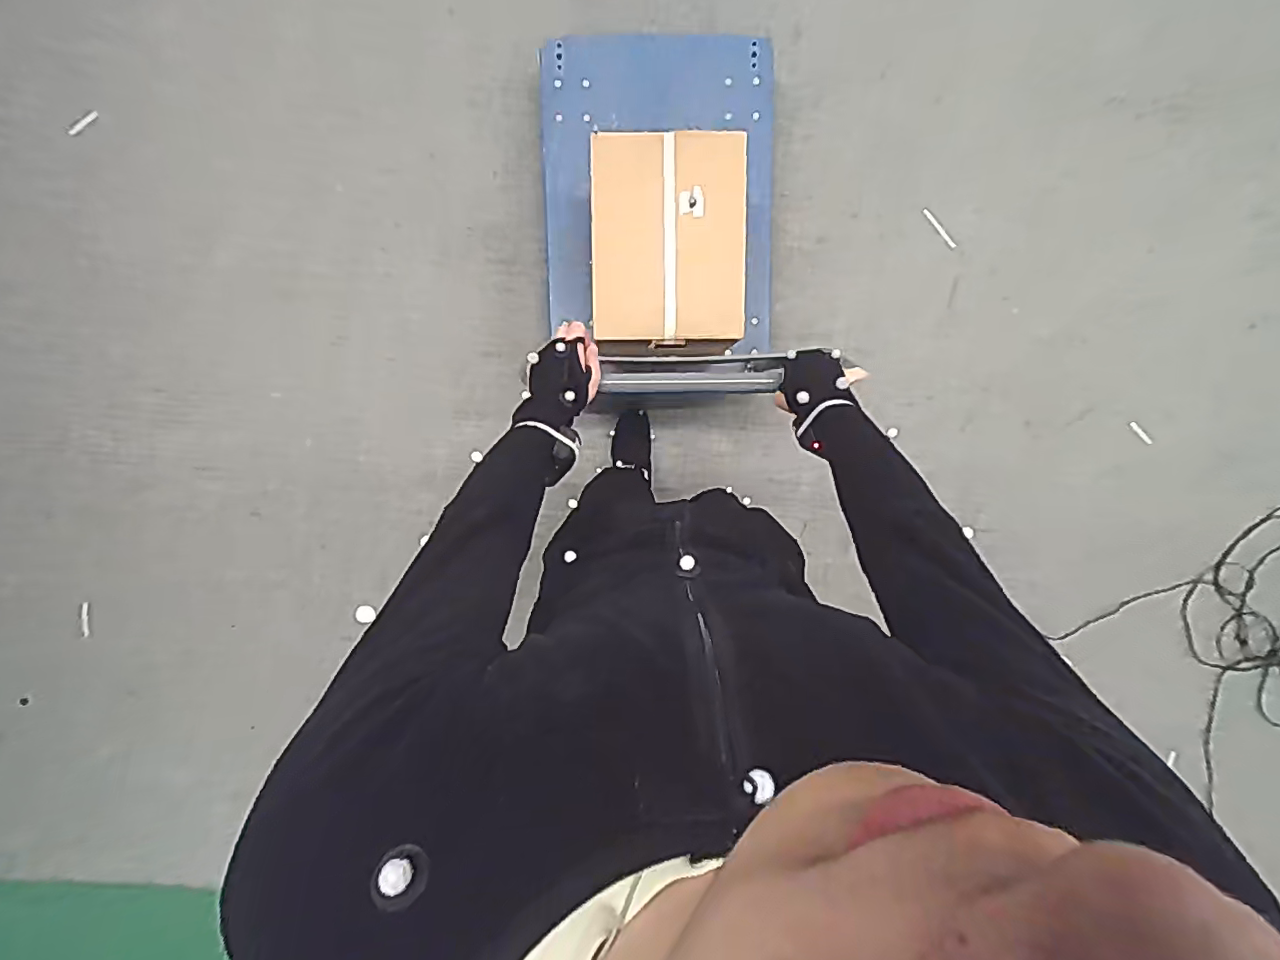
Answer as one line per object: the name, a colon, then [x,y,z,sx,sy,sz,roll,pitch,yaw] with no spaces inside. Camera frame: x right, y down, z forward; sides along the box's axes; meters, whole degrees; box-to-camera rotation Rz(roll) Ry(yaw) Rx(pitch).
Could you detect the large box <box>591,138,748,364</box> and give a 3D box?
large box: [0.062,-0.490,1.238,0.320,0.320,0.408,-1,95,-1]
